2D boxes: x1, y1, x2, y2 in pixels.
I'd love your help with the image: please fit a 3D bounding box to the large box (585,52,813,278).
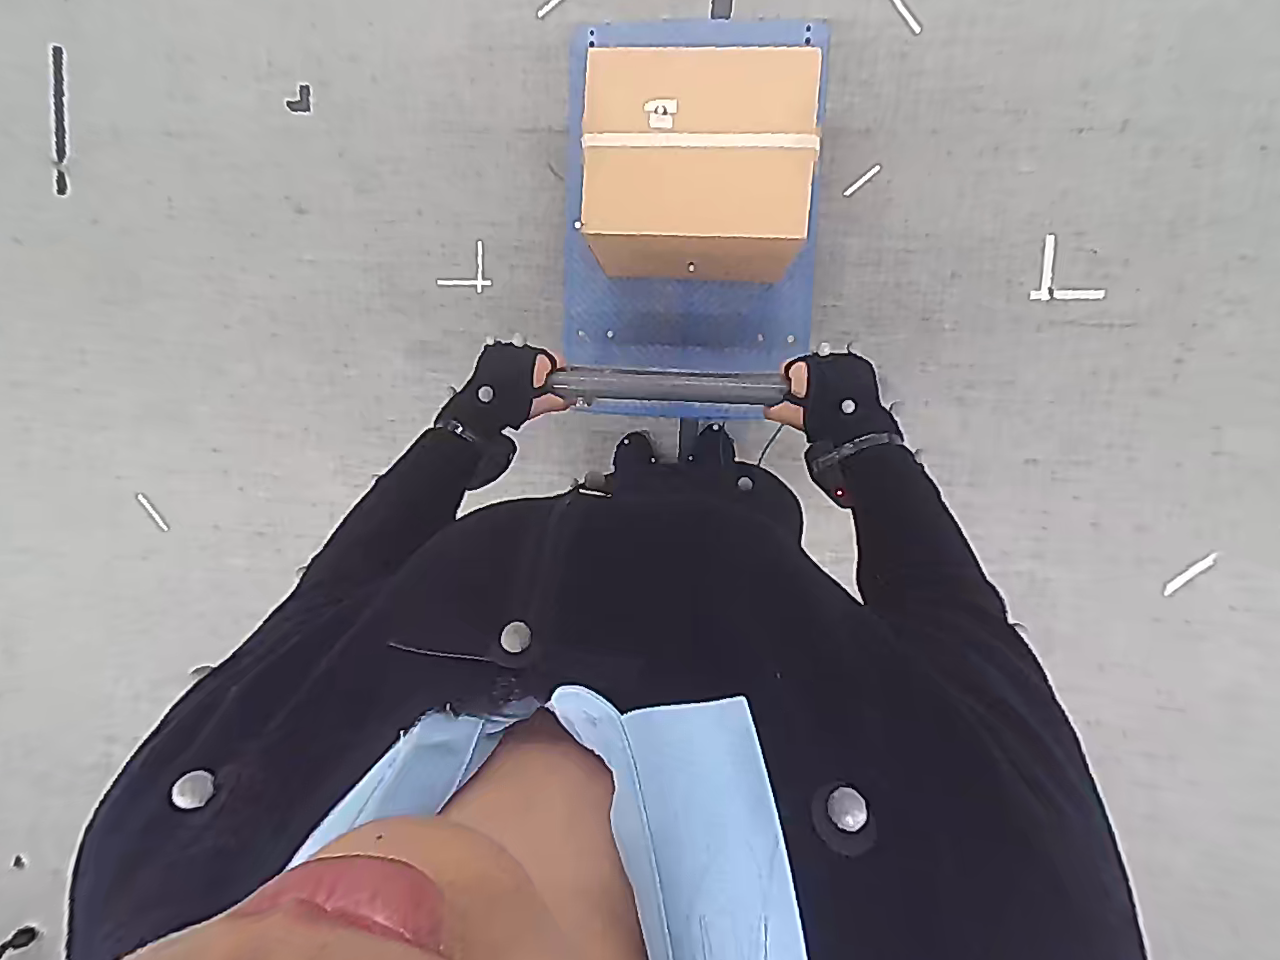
[{"bbox_3d":[0.116,-0.612,1.116,0.408,0.320,0.320,3,96,6],"label":"large box"}]
